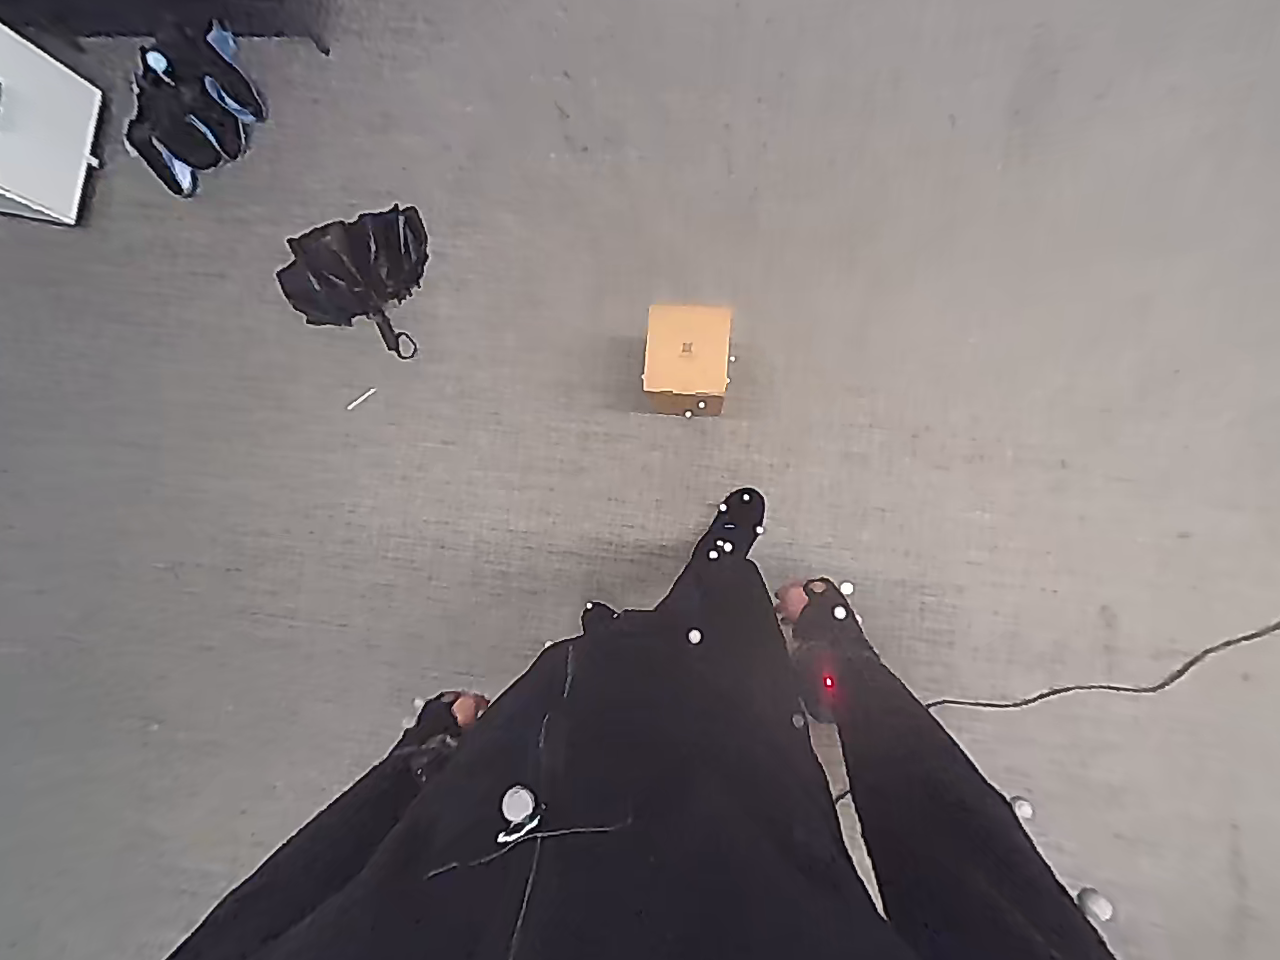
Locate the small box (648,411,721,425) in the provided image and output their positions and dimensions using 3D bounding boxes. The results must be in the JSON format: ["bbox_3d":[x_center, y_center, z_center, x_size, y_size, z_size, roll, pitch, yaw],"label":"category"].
[{"bbox_3d":[0.113,-0.227,1.288,0.168,0.176,0.179,3,90,7],"label":"small box"}]

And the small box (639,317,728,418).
[{"bbox_3d":[0.094,-0.226,1.126,0.168,0.176,0.179,3,88,6],"label":"small box"}]
